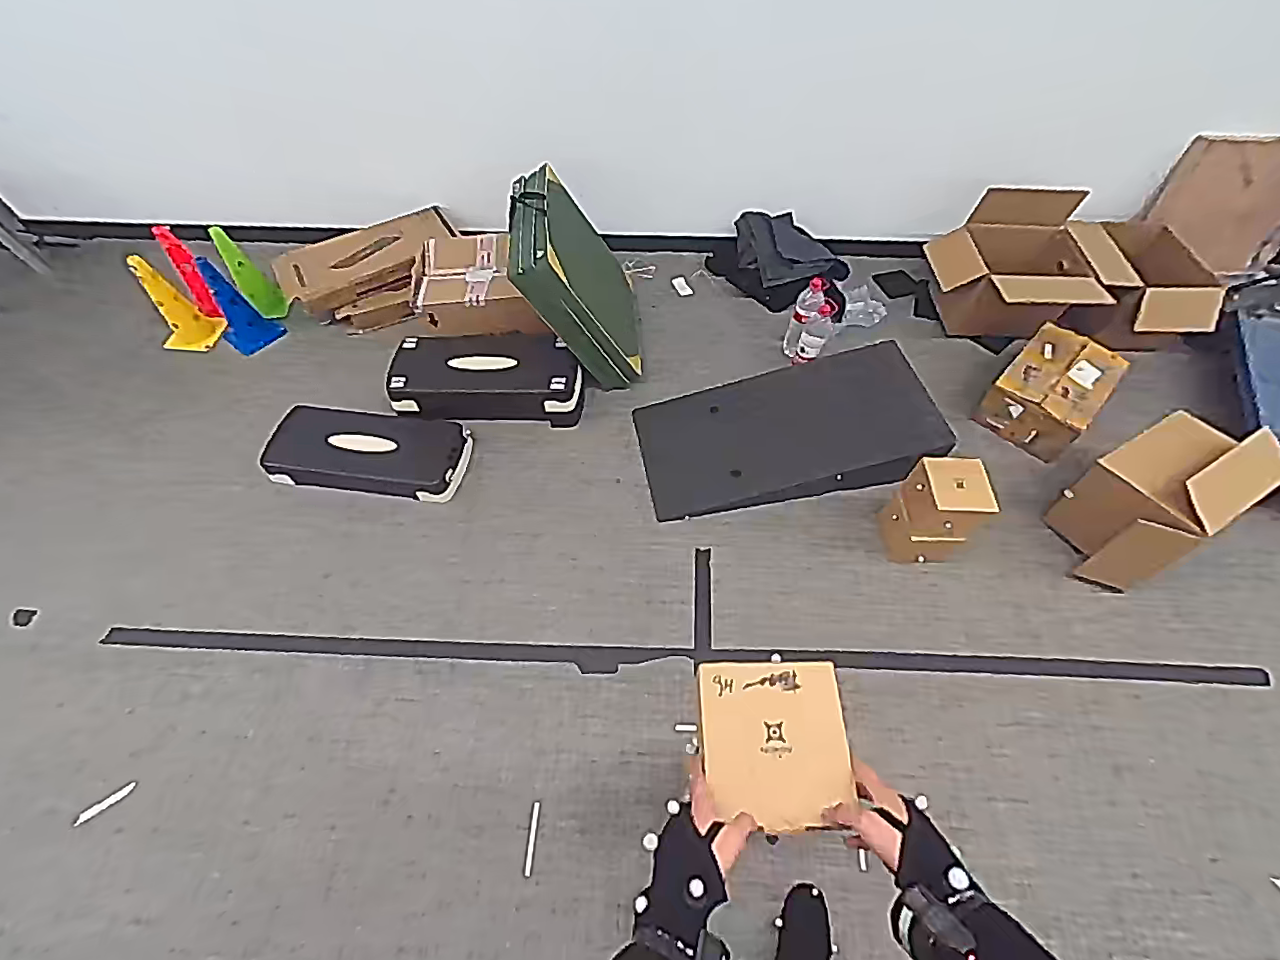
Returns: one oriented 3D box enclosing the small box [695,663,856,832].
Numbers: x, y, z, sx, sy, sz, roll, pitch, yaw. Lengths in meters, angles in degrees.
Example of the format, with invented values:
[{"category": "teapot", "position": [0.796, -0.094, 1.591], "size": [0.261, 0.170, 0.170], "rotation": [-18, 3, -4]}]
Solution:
[{"category": "small box", "position": [0.158, 0.341, 0.694], "size": [0.168, 0.176, 0.179], "rotation": [-1, 60, 3]}]
